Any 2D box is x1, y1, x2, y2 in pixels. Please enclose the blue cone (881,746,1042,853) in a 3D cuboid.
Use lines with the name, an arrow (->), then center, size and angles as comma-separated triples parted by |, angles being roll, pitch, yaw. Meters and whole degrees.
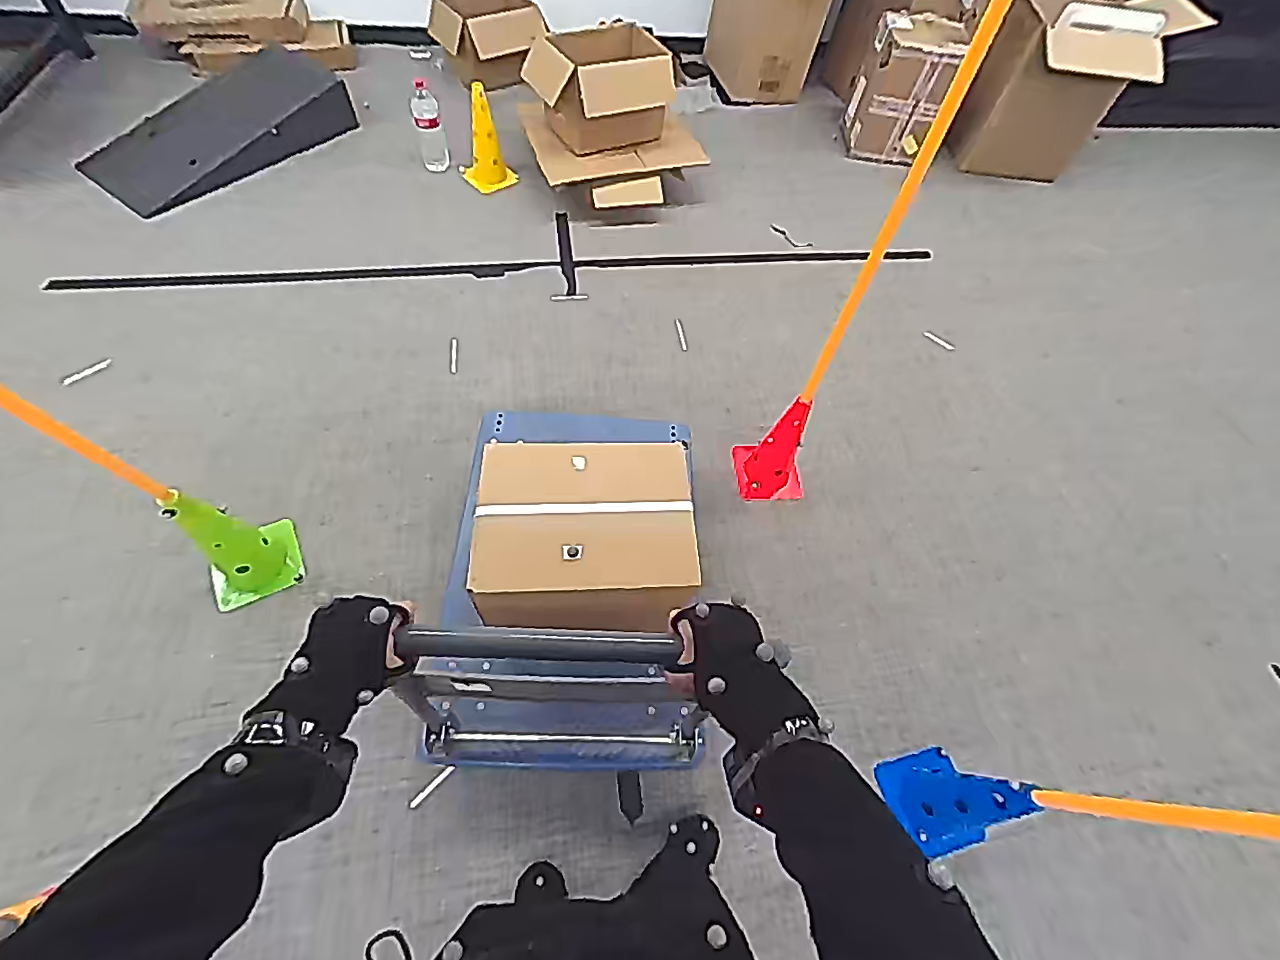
blue cone -> 0.687, 0.649, 1.112 | 0.193, 0.380, 0.192 | -9, 59, -11

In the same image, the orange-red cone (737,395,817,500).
orange-red cone -> 0.420, -0.114, 1.533 | 0.199, 0.360, 0.198 | 1, 59, -7
